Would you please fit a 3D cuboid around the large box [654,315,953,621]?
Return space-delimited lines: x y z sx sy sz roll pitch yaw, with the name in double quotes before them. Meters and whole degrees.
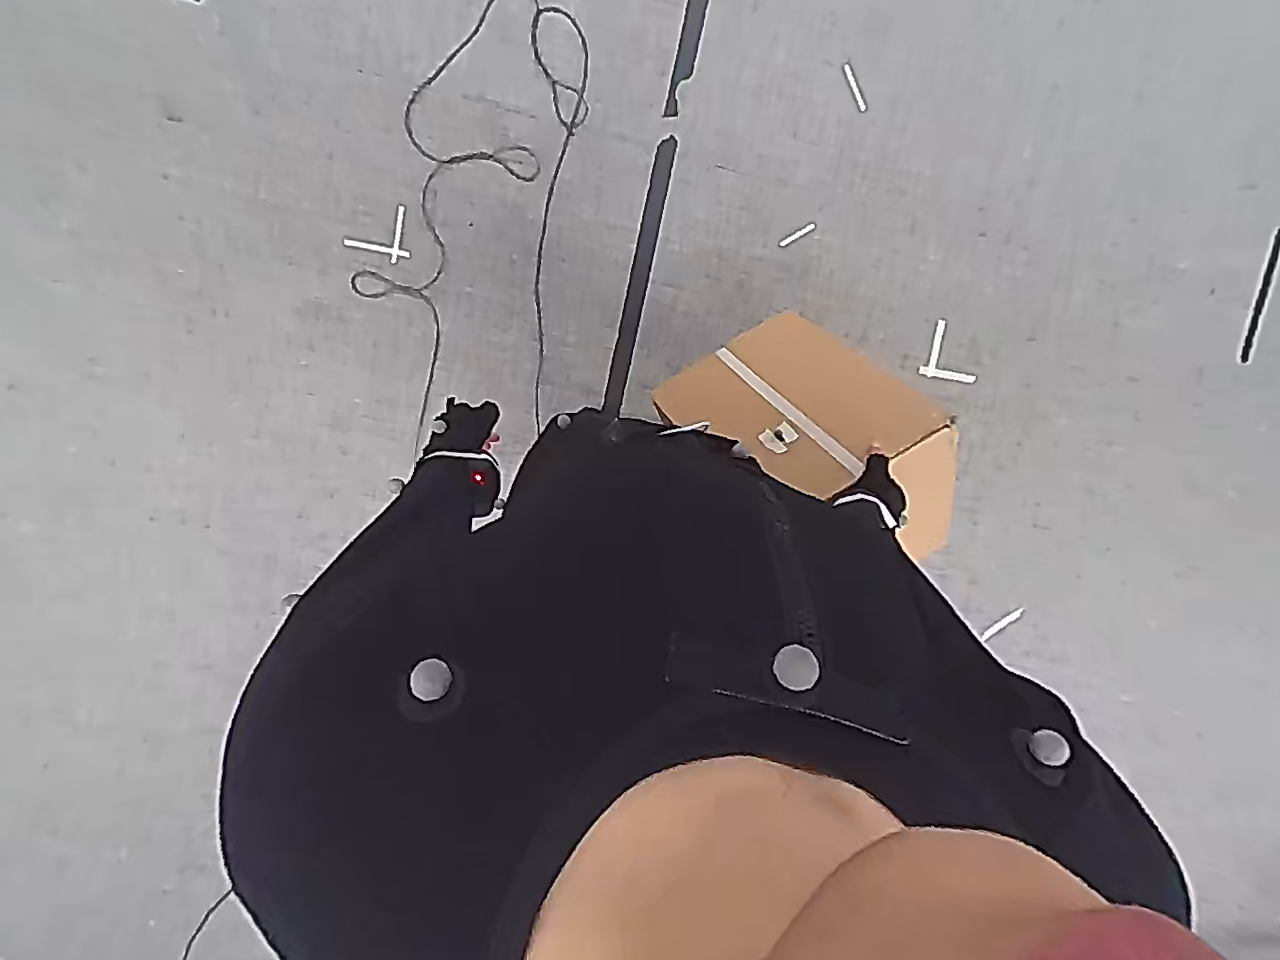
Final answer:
"large box" 0.280 -0.031 0.994 0.320 0.408 0.320 -31 136 -2
